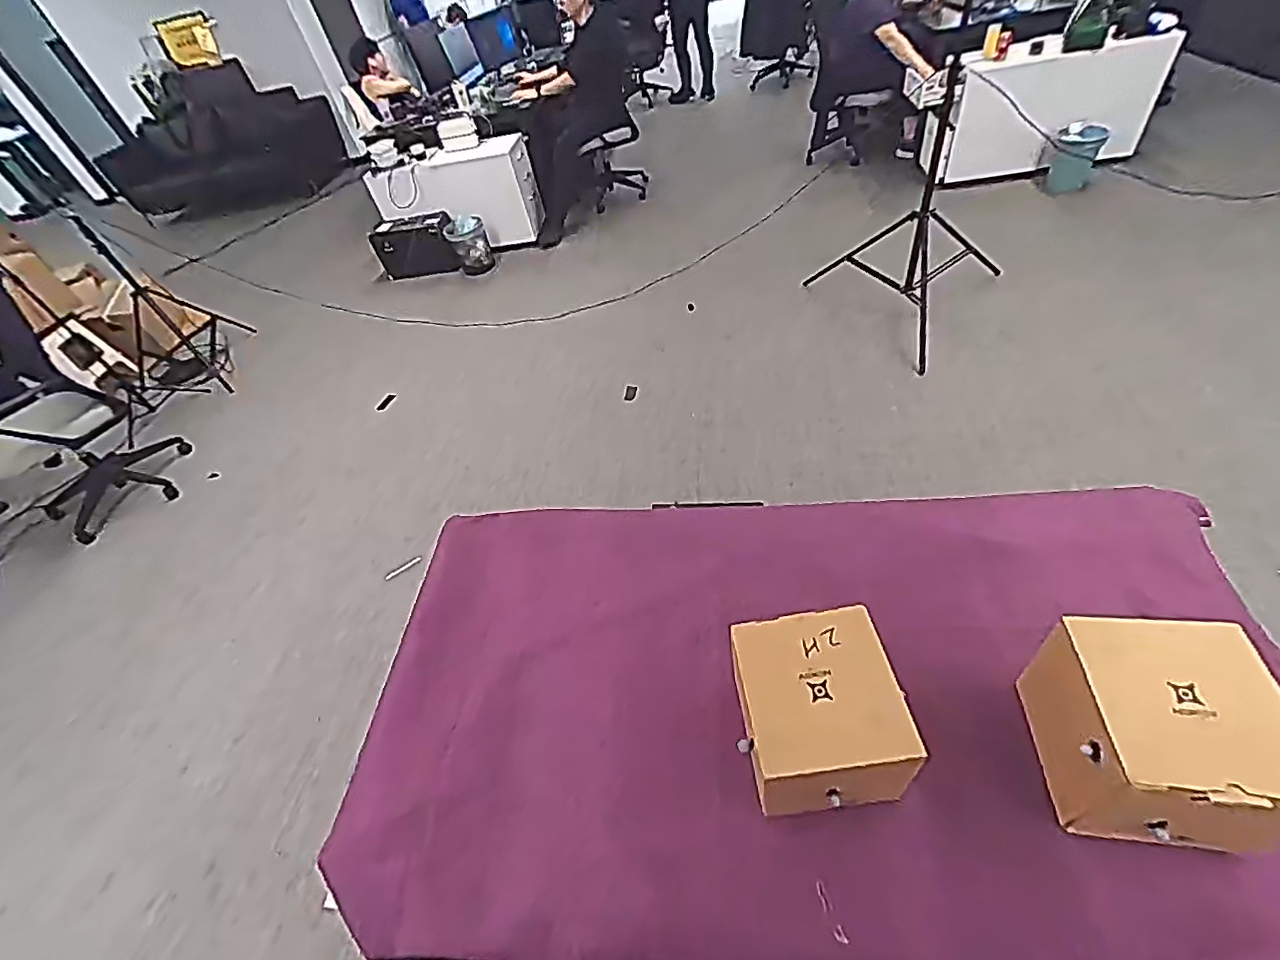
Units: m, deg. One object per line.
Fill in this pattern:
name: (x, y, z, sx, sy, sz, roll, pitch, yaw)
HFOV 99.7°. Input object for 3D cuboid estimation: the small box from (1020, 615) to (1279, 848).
small box: (0.549, 0.269, 0.586, 0.168, 0.176, 0.179, -1, 46, 13)

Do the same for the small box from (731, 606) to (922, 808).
small box: (0.211, 0.281, 0.656, 0.168, 0.176, 0.179, -10, 45, 4)
